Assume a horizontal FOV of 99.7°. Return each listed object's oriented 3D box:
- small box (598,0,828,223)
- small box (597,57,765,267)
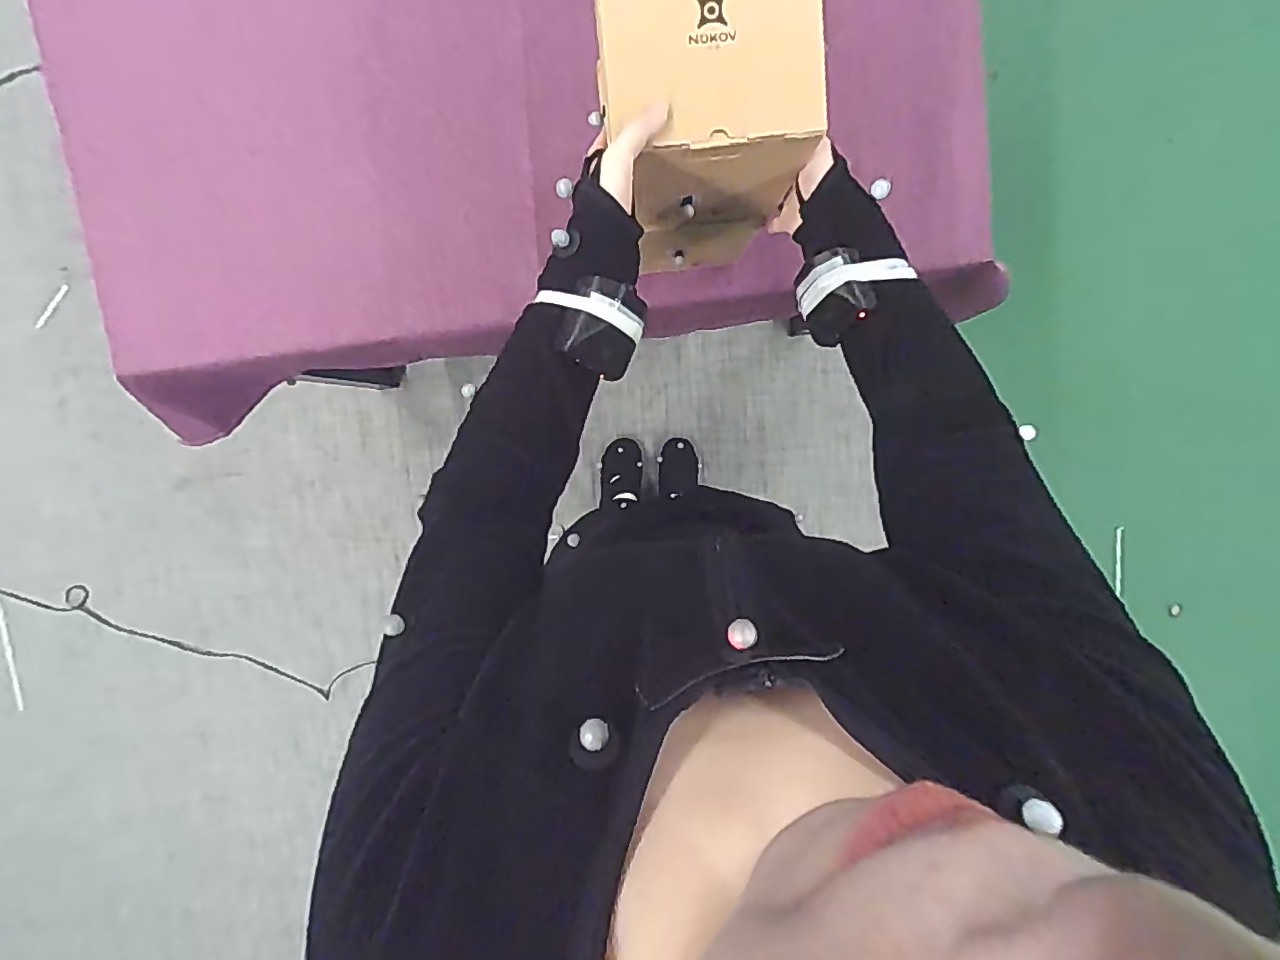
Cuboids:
[{"bbox_3d":[0.051,-0.350,0.474,0.168,0.176,0.179,-6,98,0],"label":"small box"},{"bbox_3d":[0.044,-0.362,0.637,0.168,0.176,0.179,-6,97,0],"label":"small box"}]
